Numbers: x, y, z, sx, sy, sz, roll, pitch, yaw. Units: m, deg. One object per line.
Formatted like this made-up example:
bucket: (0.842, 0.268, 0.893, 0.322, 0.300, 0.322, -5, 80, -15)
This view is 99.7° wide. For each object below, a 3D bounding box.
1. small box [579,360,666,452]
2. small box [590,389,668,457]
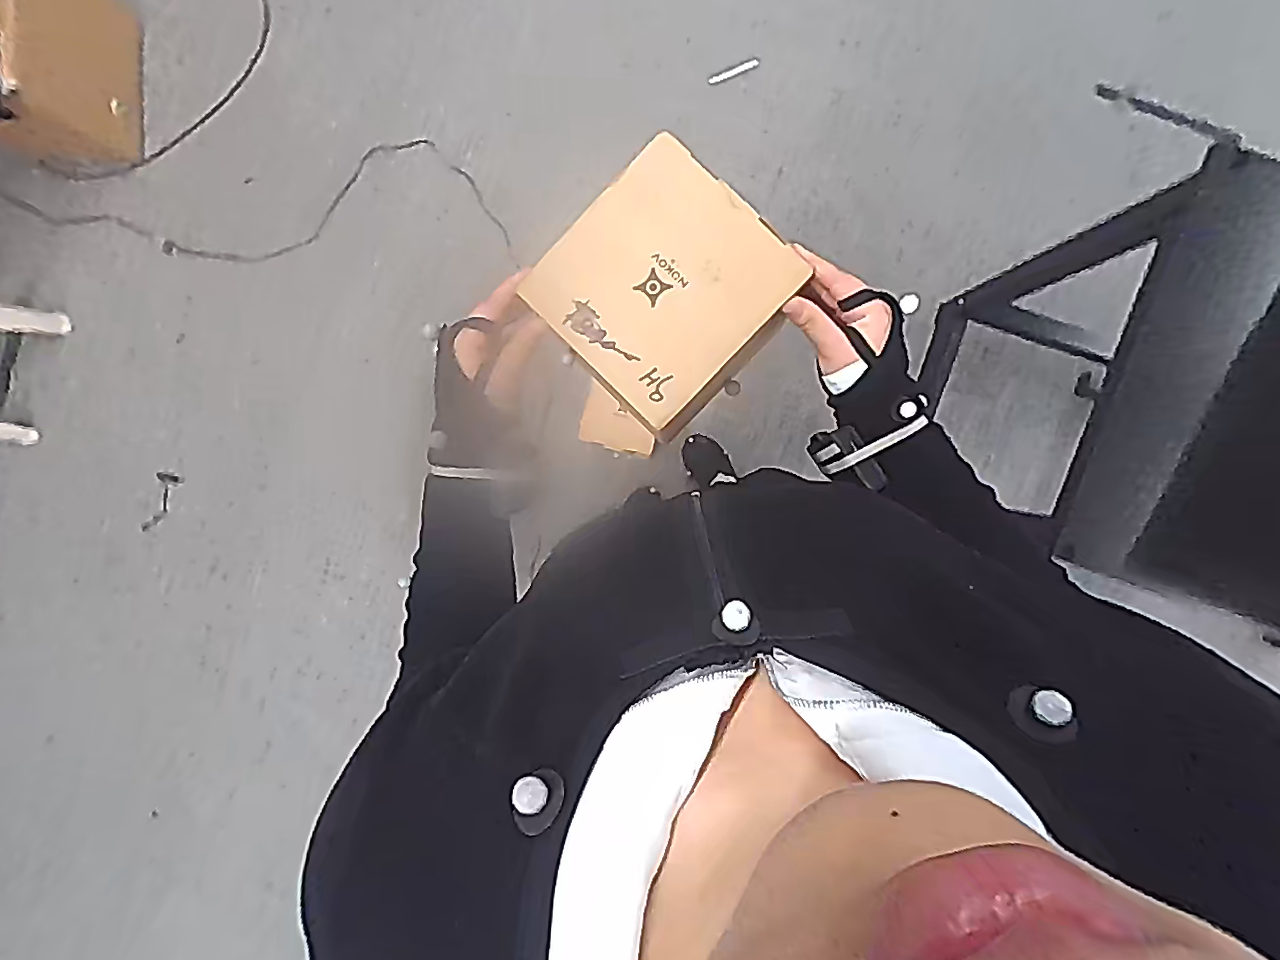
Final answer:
small box: (-0.036, -0.164, 1.259, 0.168, 0.176, 0.179, 11, 91, 0)
small box: (-0.030, -0.163, 1.420, 0.168, 0.176, 0.179, 15, 93, 1)
